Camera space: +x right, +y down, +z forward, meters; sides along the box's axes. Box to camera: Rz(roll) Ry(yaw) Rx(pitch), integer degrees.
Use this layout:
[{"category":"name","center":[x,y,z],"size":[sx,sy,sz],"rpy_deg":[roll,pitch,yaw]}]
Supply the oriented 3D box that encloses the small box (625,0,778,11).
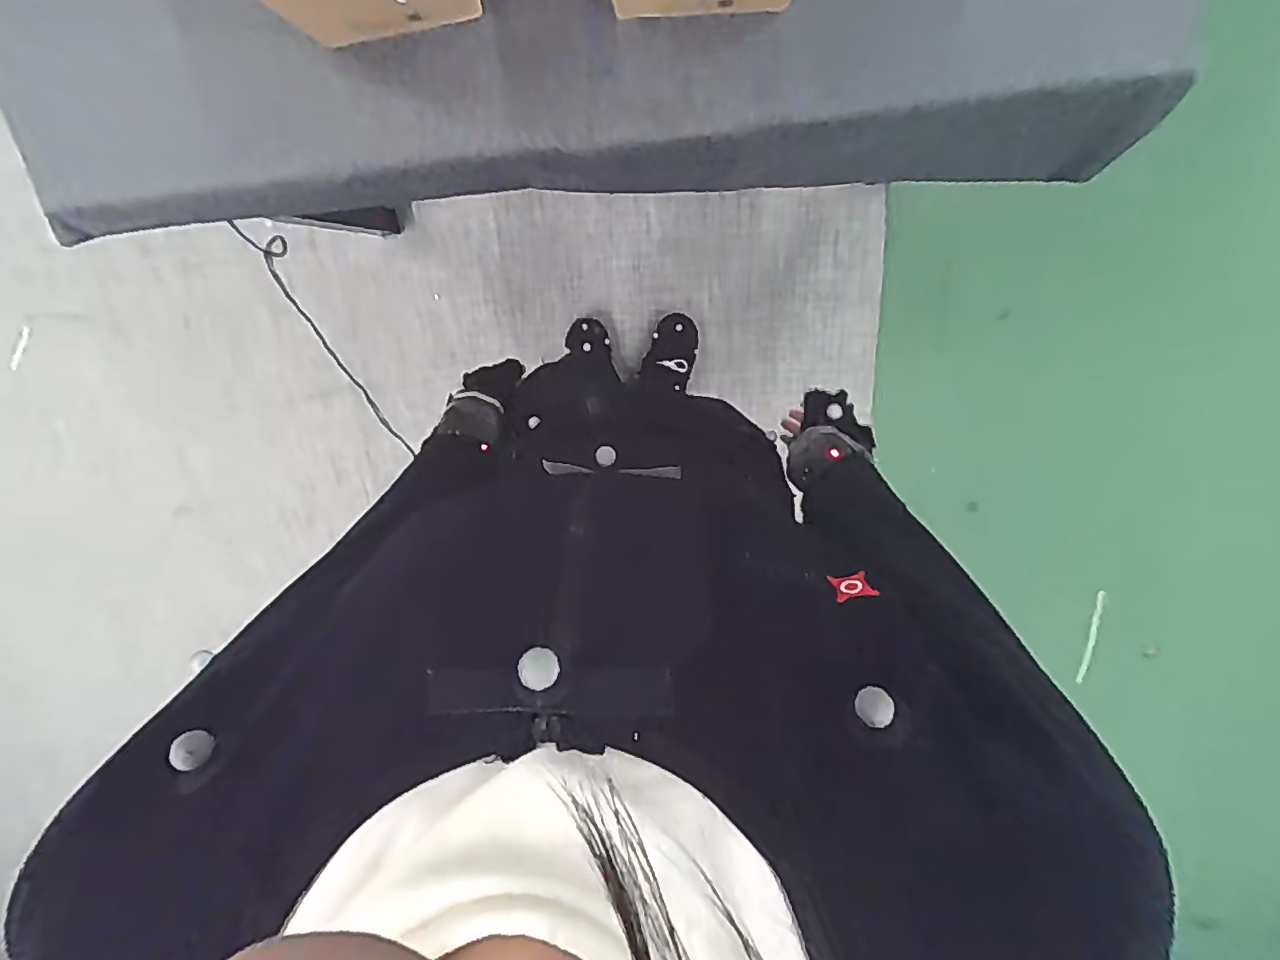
[{"category":"small box","center":[0.050,-0.504,0.421],"size":[0.168,0.176,0.179],"rpy_deg":[-1,111,4]}]
